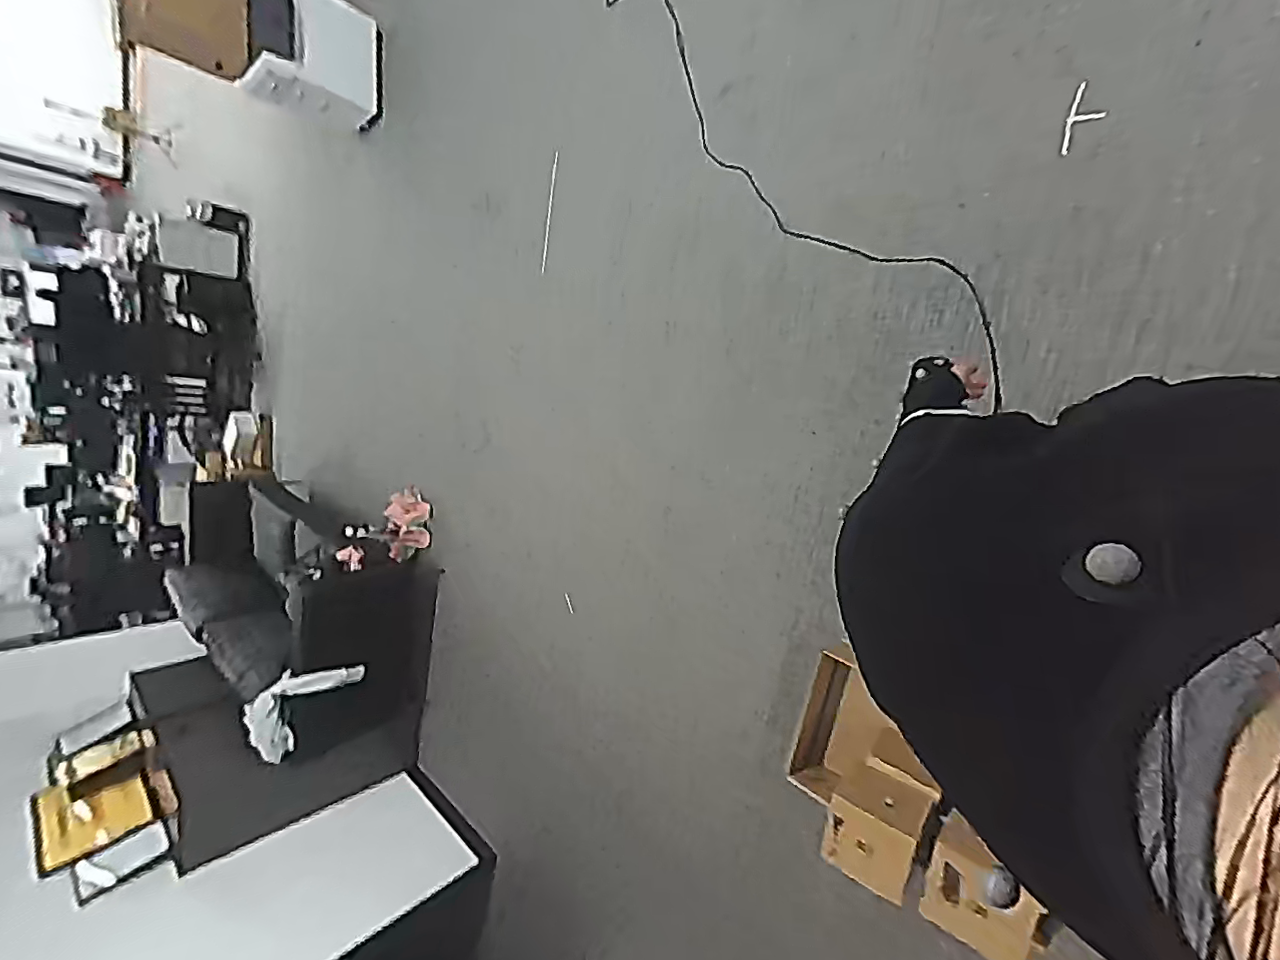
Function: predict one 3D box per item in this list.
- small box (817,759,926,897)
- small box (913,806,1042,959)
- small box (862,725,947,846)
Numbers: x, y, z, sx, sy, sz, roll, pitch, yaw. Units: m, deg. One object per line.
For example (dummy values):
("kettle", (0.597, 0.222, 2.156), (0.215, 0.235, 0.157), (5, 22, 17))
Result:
("small box", (0.530, 0.775, 1.230), (0.179, 0.176, 0.168), (16, 102, 37))
("small box", (0.687, 0.803, 1.098), (0.179, 0.176, 0.168), (16, 101, 39))
("small box", (0.644, 0.754, 1.348), (0.168, 0.176, 0.179), (21, 105, 36))
